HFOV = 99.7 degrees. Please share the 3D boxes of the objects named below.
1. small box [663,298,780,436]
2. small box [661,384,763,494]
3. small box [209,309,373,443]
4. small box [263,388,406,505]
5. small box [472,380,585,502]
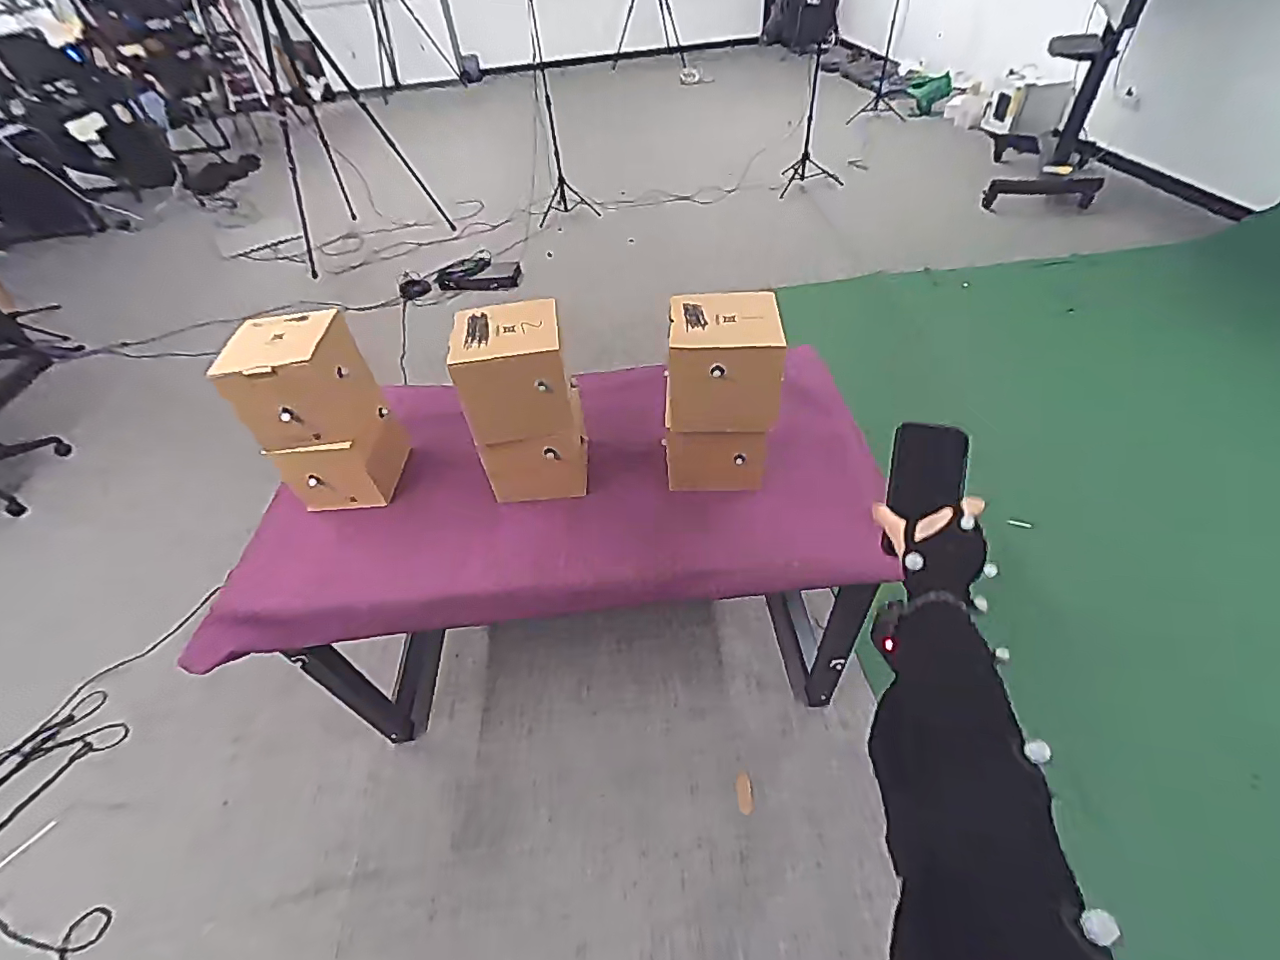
[{"bbox_3d":[0.132,-0.188,0.910,0.179,0.176,0.168,1,46,5],"label":"small box"},{"bbox_3d":[0.135,-0.085,1.038,0.179,0.176,0.168,0,46,7],"label":"small box"},{"bbox_3d":[-0.607,-0.180,0.971,0.168,0.176,0.179,-7,47,-2],"label":"small box"},{"bbox_3d":[-0.595,-0.061,1.084,0.168,0.176,0.179,-3,46,2],"label":"small box"},{"bbox_3d":[-0.205,-0.074,1.057,0.179,0.176,0.168,-4,46,2],"label":"small box"}]
